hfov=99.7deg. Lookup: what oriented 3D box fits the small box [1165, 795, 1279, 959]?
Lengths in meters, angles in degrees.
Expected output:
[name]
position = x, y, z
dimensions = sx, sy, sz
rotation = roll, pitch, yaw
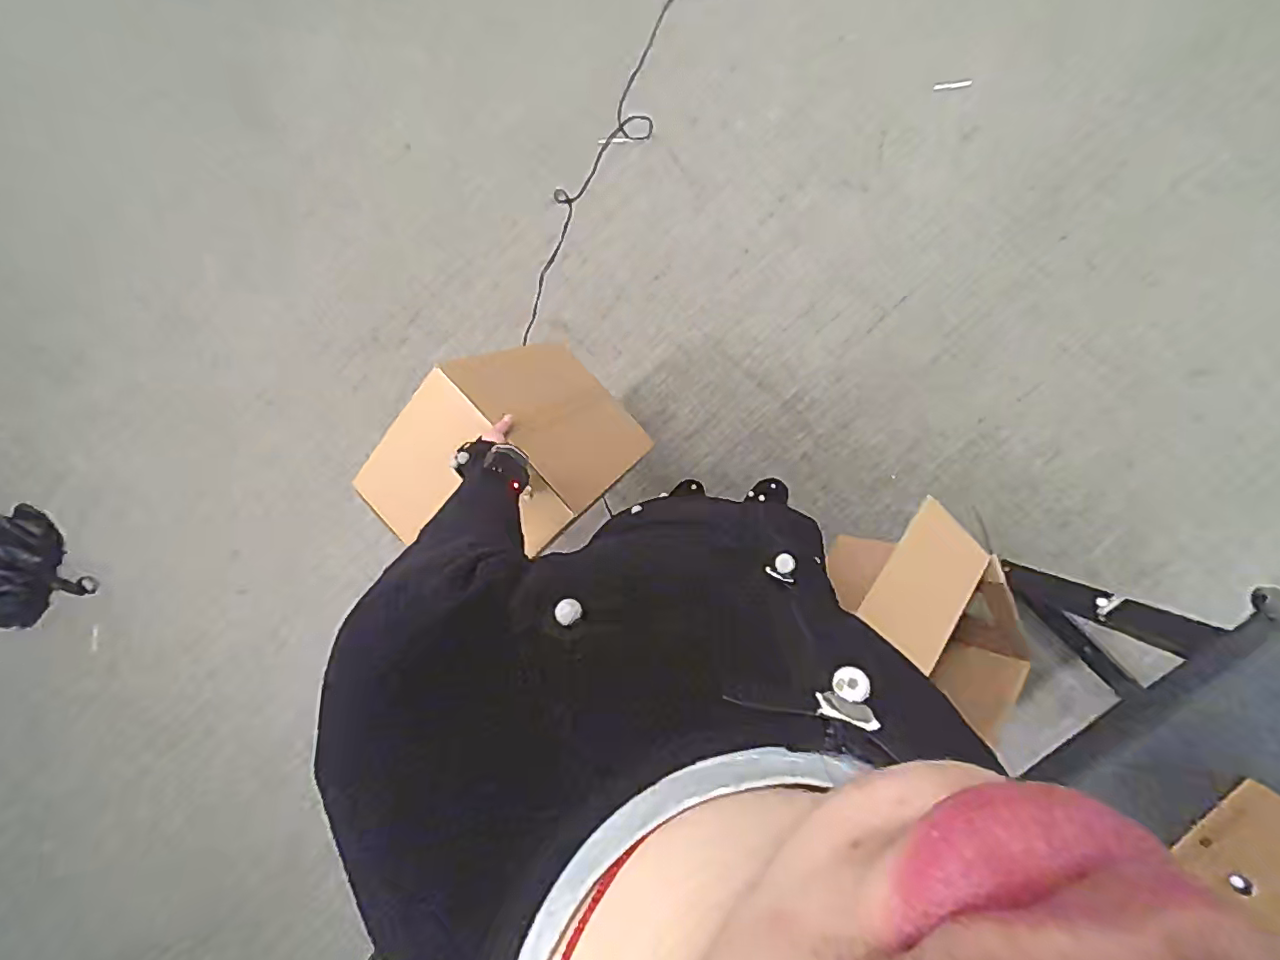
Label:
[small box]
position = 0.814, 0.521, 0.648
dimensions = 0.179, 0.176, 0.168
rotation = 39, 98, 4
